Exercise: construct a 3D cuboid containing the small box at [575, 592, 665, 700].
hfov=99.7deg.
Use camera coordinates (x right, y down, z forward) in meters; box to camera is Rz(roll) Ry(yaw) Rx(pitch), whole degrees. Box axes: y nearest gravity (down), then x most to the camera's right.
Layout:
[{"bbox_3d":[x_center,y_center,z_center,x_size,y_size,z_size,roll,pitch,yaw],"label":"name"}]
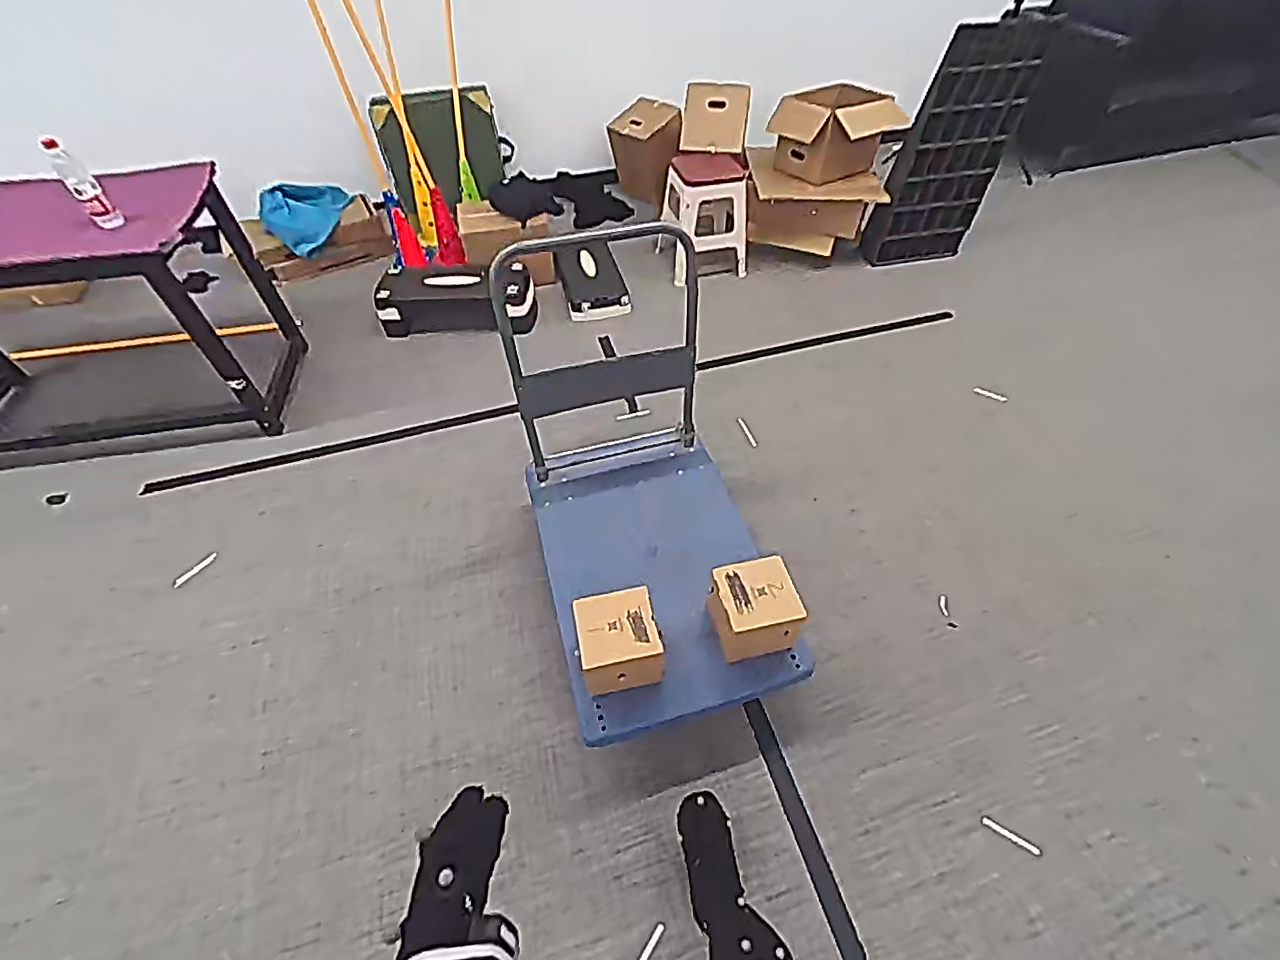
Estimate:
[{"bbox_3d":[-0.046,0.383,1.243,0.179,0.176,0.168,-11,50,-7],"label":"small box"}]
